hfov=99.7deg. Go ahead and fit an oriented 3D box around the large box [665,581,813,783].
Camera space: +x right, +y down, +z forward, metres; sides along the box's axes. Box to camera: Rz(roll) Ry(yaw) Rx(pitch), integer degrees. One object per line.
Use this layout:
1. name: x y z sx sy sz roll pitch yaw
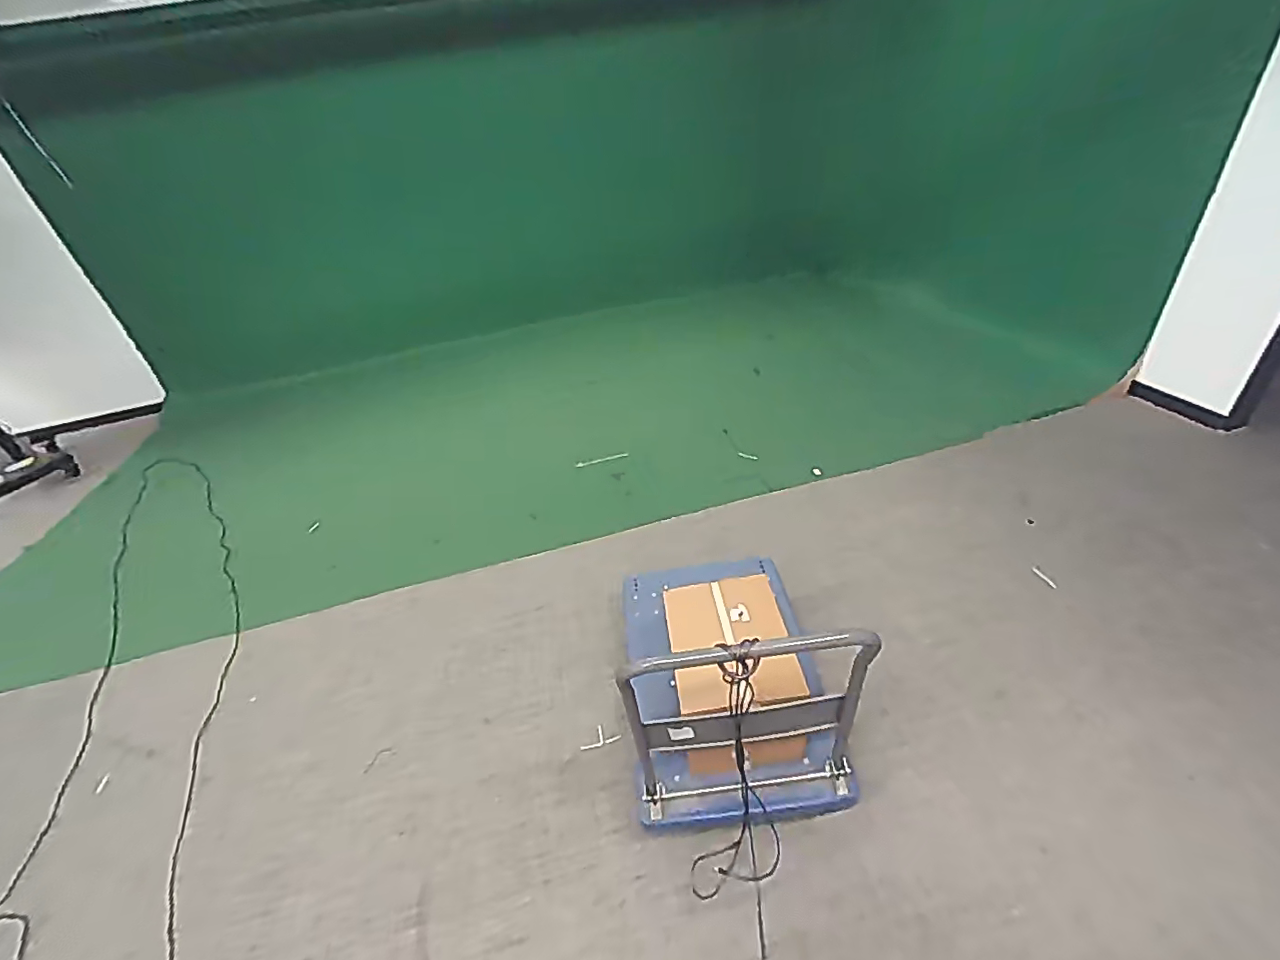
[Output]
1. large box: 0.263 0.554 1.514 0.320 0.320 0.408 -9 34 1
